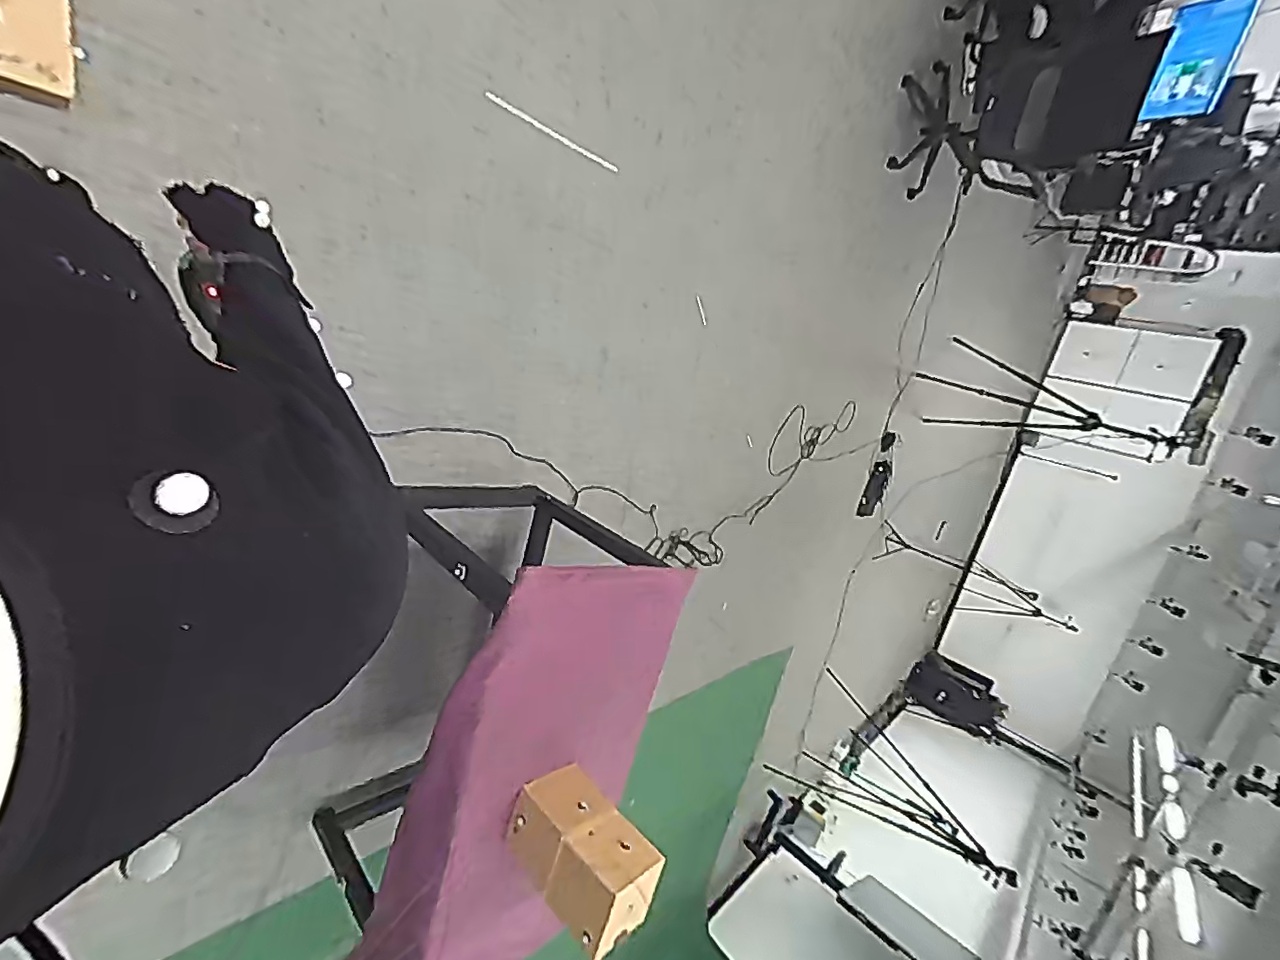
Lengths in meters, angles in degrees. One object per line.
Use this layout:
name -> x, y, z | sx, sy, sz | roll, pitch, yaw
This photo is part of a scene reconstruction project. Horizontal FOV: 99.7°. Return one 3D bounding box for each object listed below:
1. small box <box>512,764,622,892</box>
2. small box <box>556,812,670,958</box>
small box -> -0.179, 0.829, 1.314 | 0.179, 0.176, 0.168 | 8, 102, -49
small box -> -0.065, 0.888, 1.215 | 0.168, 0.176, 0.179 | 5, 105, -50
